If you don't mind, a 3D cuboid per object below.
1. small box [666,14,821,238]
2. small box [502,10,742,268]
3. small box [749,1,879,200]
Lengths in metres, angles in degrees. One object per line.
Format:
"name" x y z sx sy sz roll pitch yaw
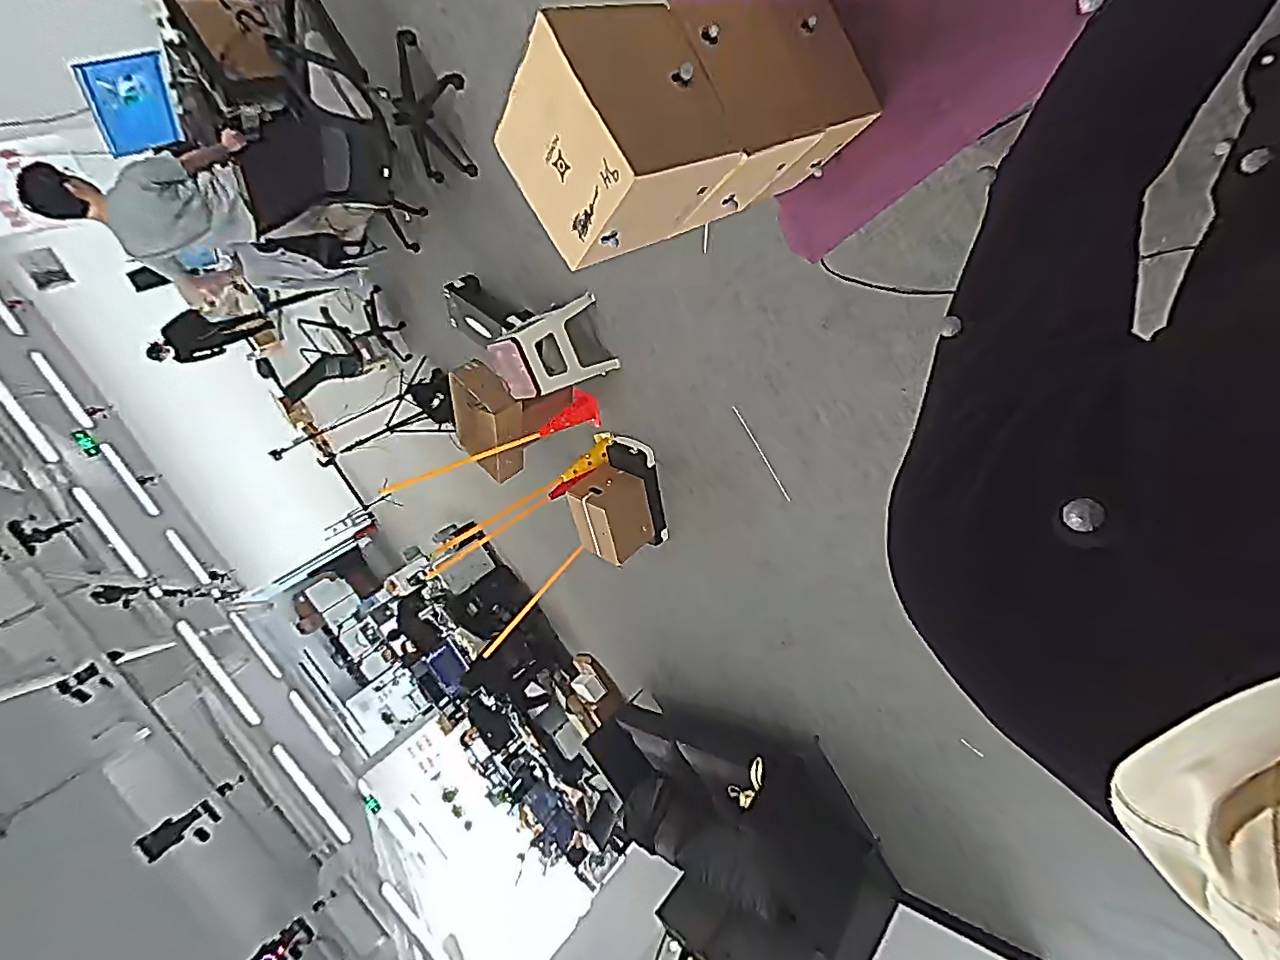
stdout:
"small box" 0.098 -0.451 0.694 0.168 0.176 0.179 -19 103 58
"small box" -0.022 -0.376 0.610 0.179 0.176 0.168 60 150 -4
"small box" 0.205 -0.536 0.781 0.179 0.176 0.168 59 149 -7
